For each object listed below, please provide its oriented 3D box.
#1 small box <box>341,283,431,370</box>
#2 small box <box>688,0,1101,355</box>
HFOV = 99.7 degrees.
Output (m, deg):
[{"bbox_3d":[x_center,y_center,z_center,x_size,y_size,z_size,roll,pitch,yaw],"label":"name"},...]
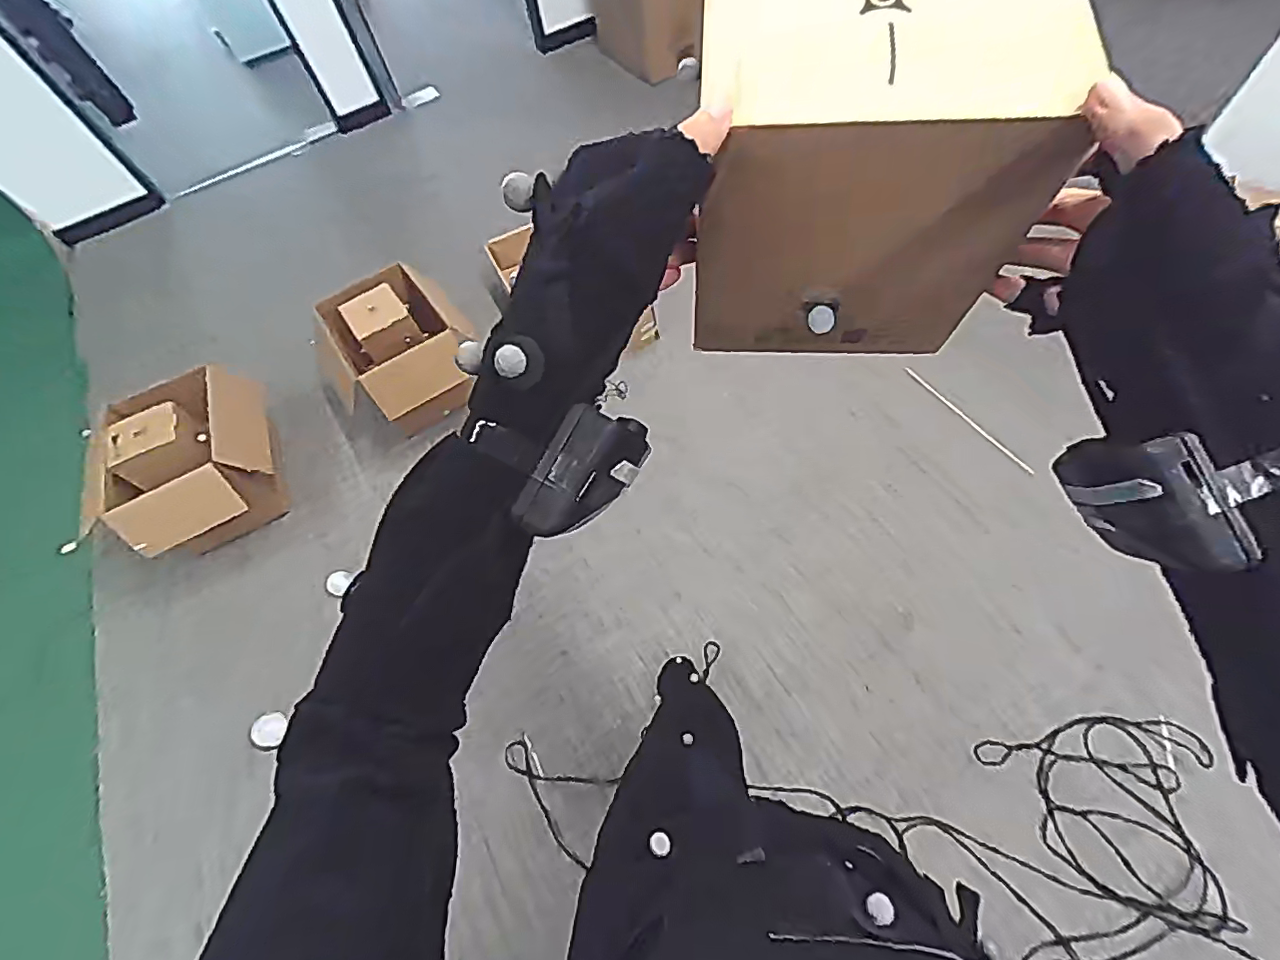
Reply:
[{"bbox_3d":[-0.787,-0.470,1.692,0.168,0.176,0.179,-34,64,-13],"label":"small box"},{"bbox_3d":[0.116,-0.198,0.327,0.168,0.176,0.179,2,70,6],"label":"small box"}]
